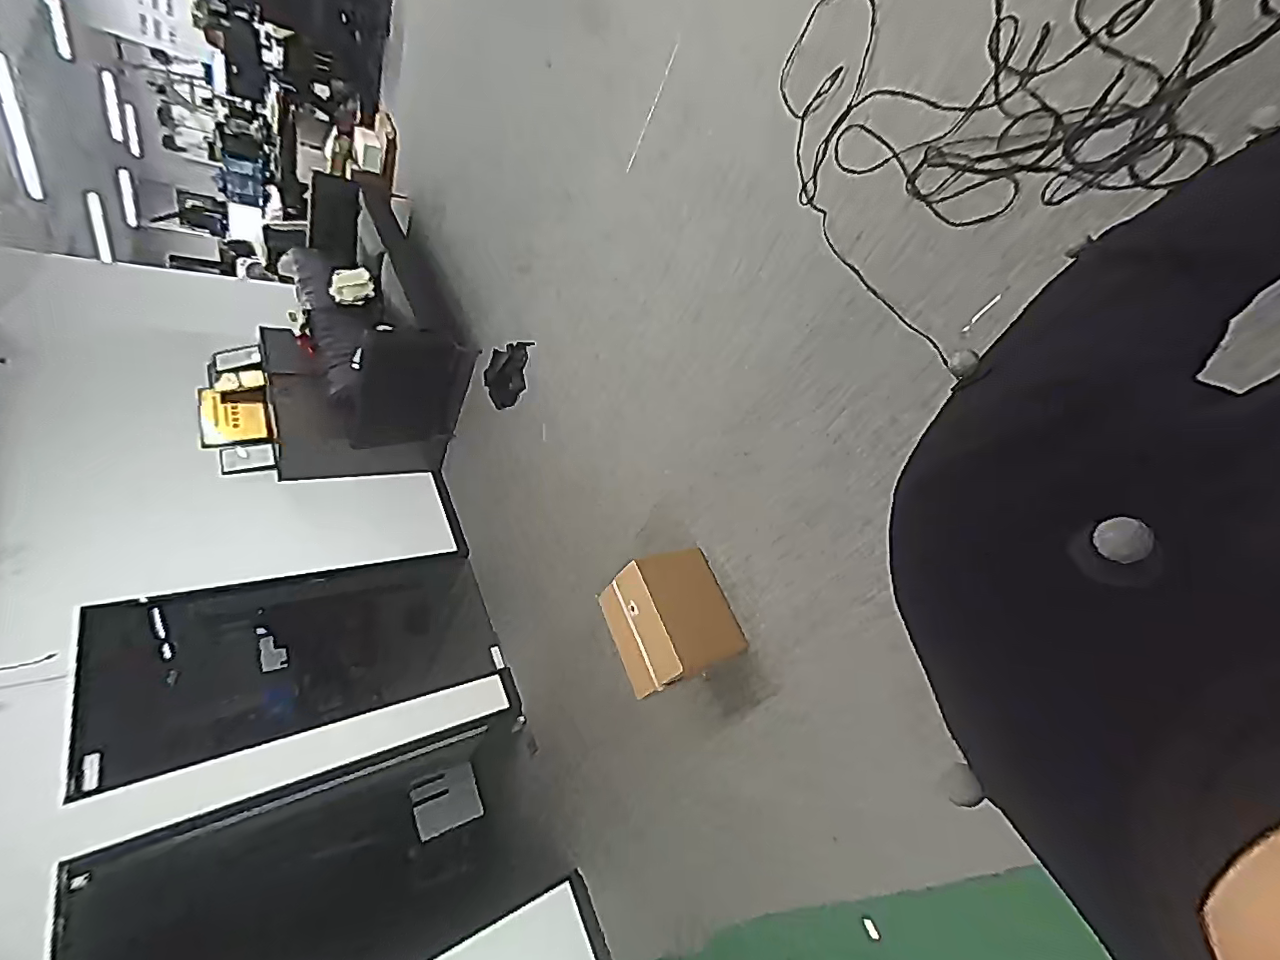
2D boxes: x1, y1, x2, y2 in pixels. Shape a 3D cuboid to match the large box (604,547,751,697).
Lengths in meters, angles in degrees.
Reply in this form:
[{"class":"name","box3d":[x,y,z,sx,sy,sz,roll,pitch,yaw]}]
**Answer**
[{"class":"large box","box3d":[0.127,0.504,1.959,0.320,0.320,0.408,-52,53,42]}]
